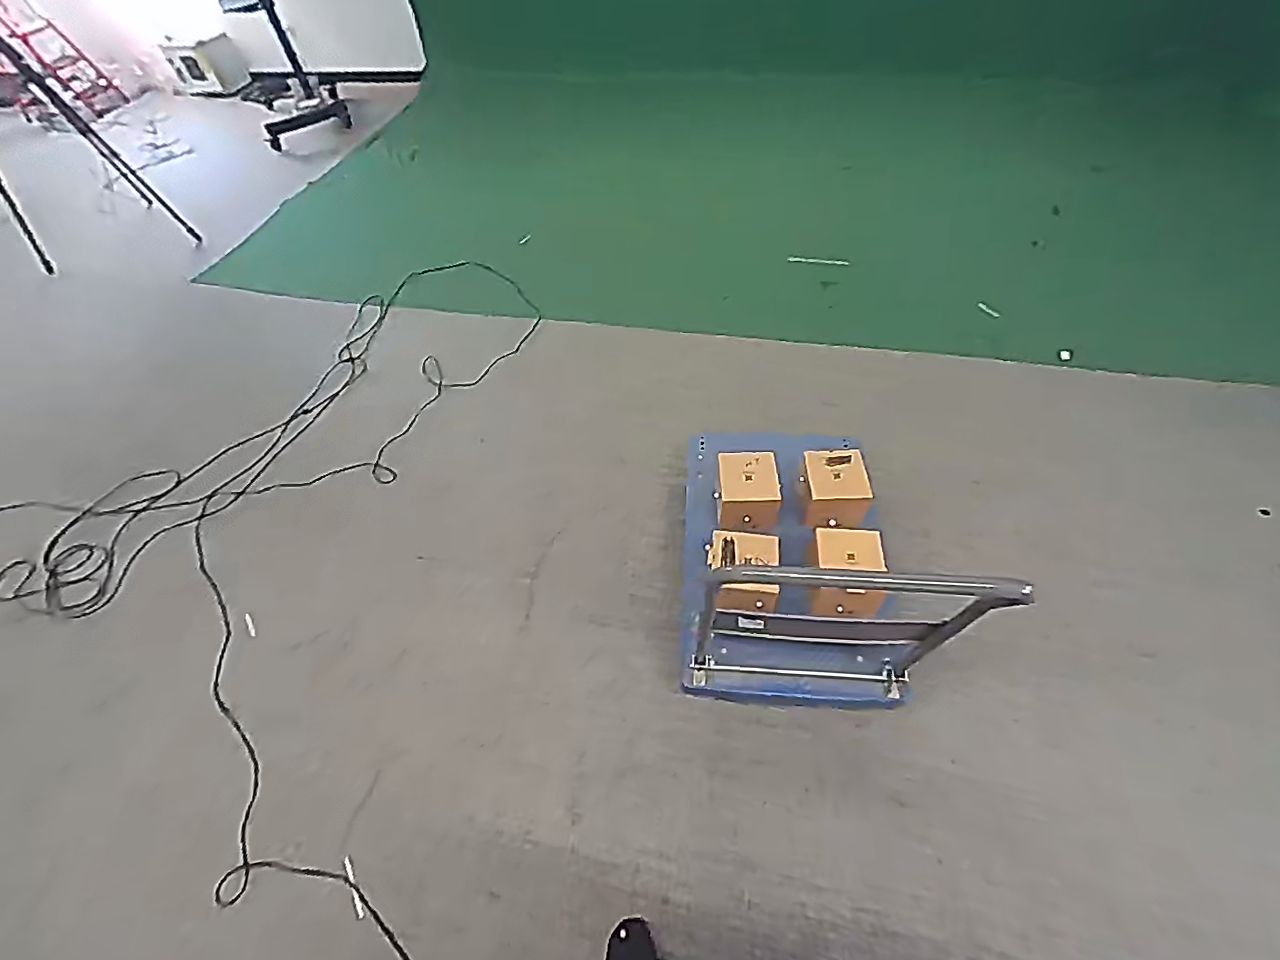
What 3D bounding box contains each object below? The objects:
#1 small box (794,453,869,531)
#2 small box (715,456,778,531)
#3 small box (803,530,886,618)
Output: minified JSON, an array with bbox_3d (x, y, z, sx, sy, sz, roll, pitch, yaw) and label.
[{"bbox_3d":[0.569,0.038,1.632,0.168,0.176,0.179,-2,54,4],"label":"small box"},{"bbox_3d":[0.318,0.046,1.647,0.168,0.176,0.179,-1,54,3],"label":"small box"},{"bbox_3d":[0.548,0.257,1.474,0.168,0.176,0.179,2,54,6],"label":"small box"}]
